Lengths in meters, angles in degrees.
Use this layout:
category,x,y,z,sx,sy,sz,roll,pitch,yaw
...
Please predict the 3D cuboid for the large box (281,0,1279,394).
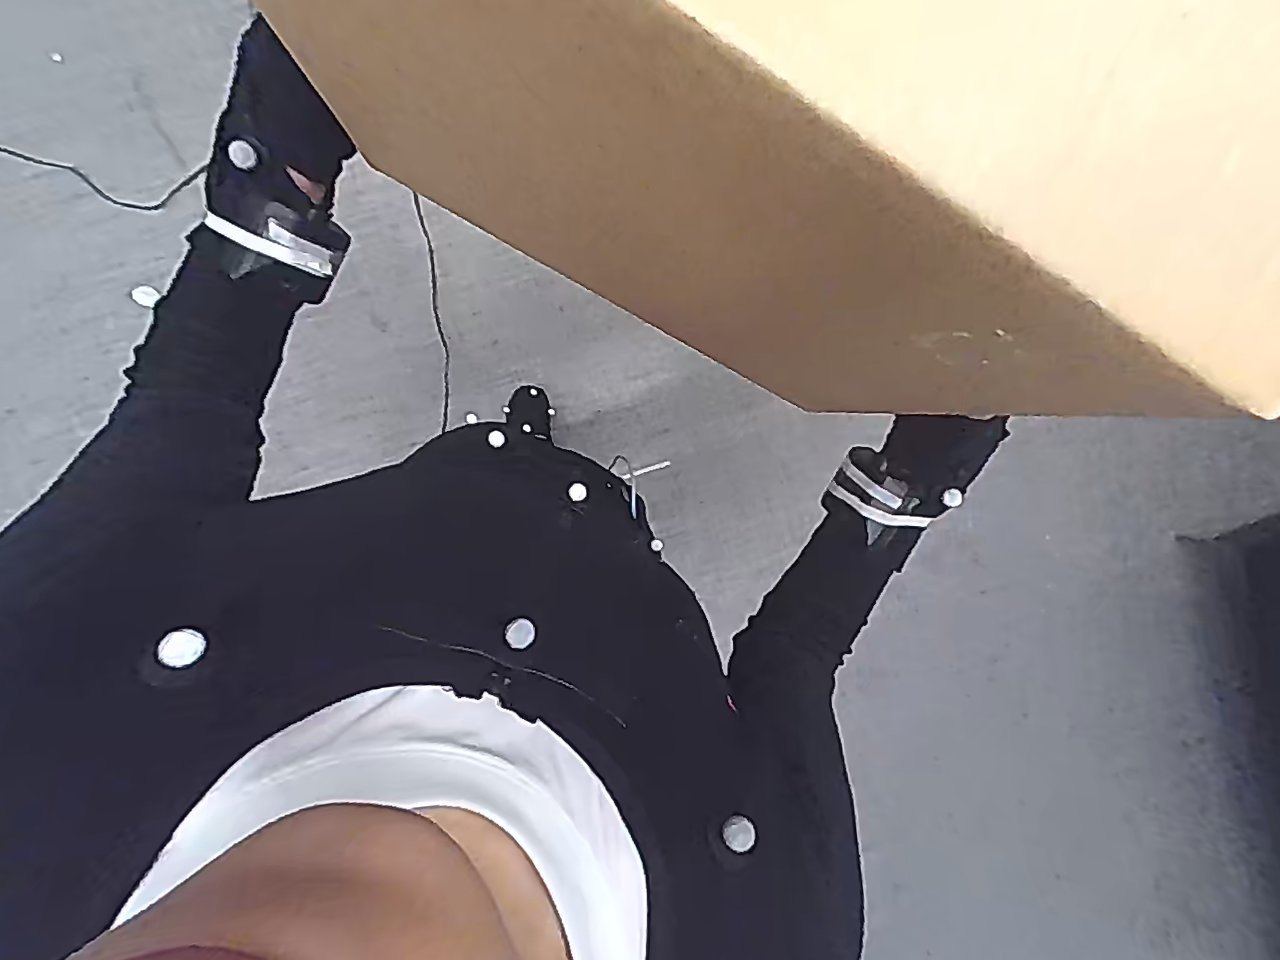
category,x,y,z,sx,sy,sz,roll,pitch,yaw
large box,0.073,-0.271,0.287,0.408,0.320,0.320,26,93,-13
